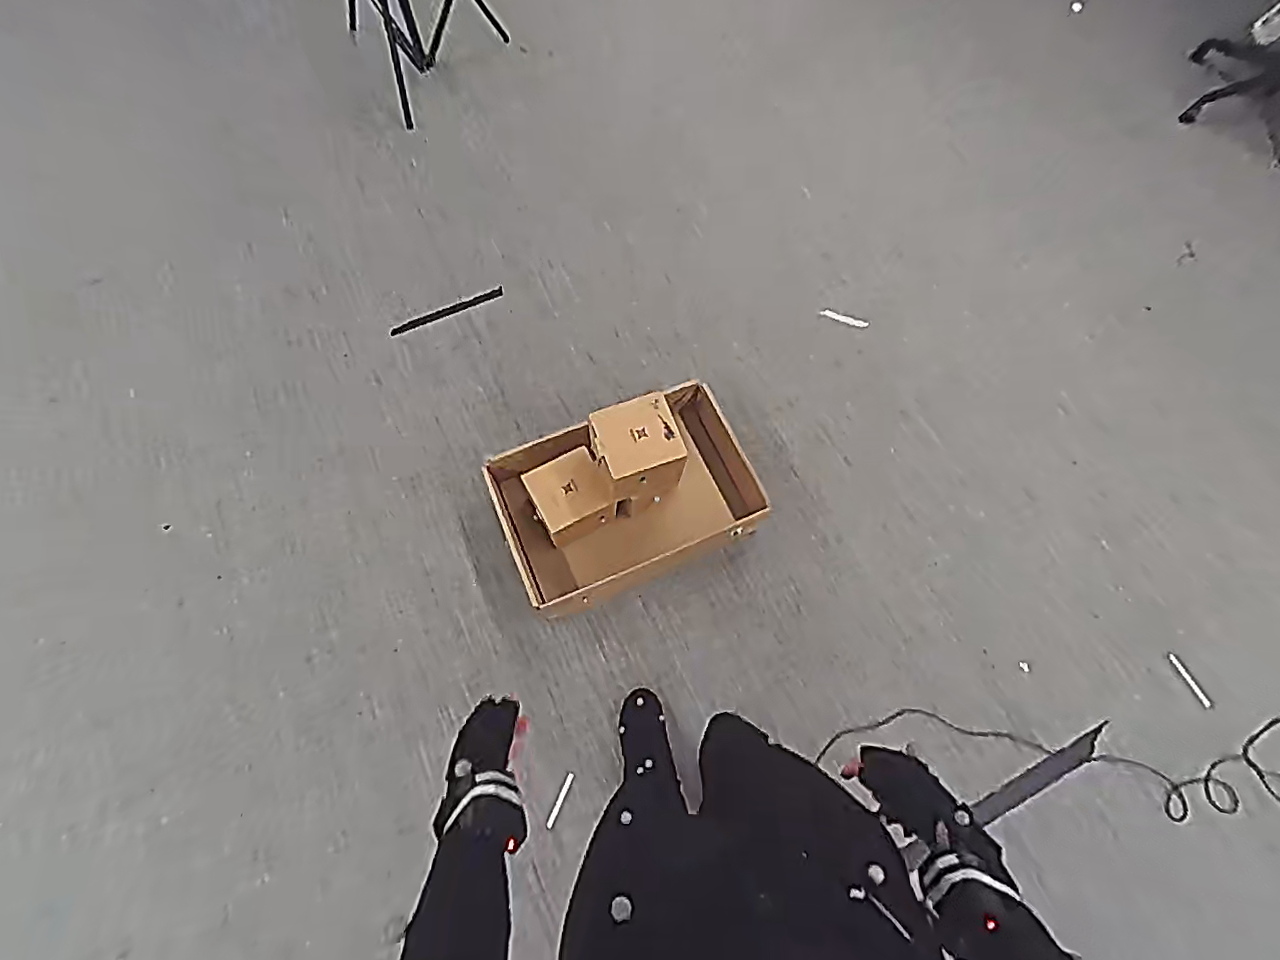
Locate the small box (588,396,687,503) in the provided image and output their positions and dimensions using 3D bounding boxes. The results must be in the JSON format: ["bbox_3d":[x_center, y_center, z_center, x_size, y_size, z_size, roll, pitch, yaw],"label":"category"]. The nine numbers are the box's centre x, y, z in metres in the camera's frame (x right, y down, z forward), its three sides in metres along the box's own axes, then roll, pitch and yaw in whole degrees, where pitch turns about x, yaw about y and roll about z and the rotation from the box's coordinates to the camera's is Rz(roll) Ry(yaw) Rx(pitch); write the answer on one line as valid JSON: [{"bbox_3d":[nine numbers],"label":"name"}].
[{"bbox_3d":[-0.006,-0.063,1.241,0.179,0.176,0.168,-19,73,-8],"label":"small box"}]
